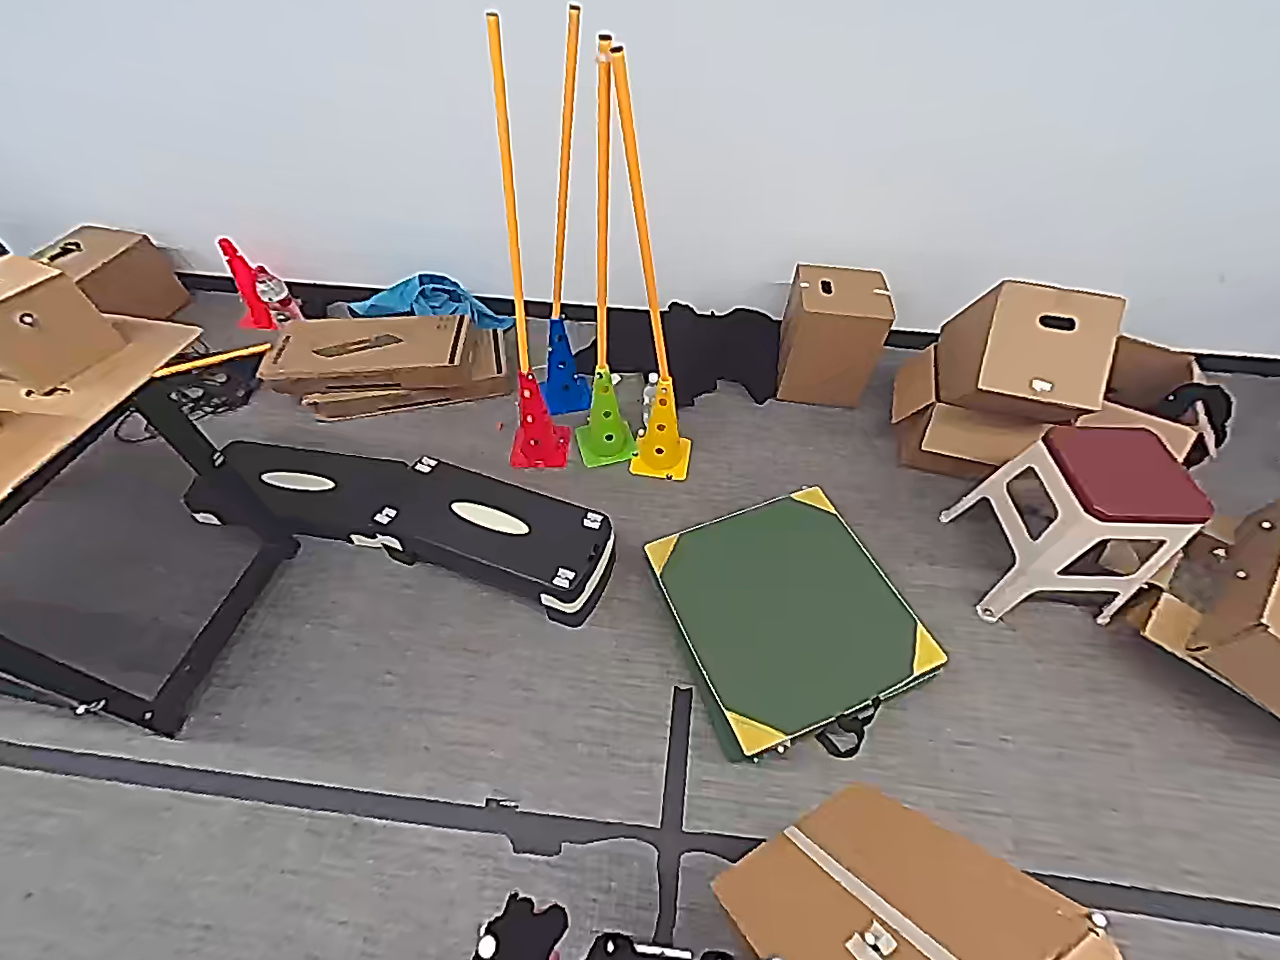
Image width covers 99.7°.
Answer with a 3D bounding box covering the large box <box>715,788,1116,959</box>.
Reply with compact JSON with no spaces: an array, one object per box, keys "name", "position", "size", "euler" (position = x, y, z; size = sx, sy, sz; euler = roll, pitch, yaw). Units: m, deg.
[{"name":"large box","position":[0.360,0.696,0.707],"size":[0.320,0.408,0.320],"euler":[-22,88,-18]}]
